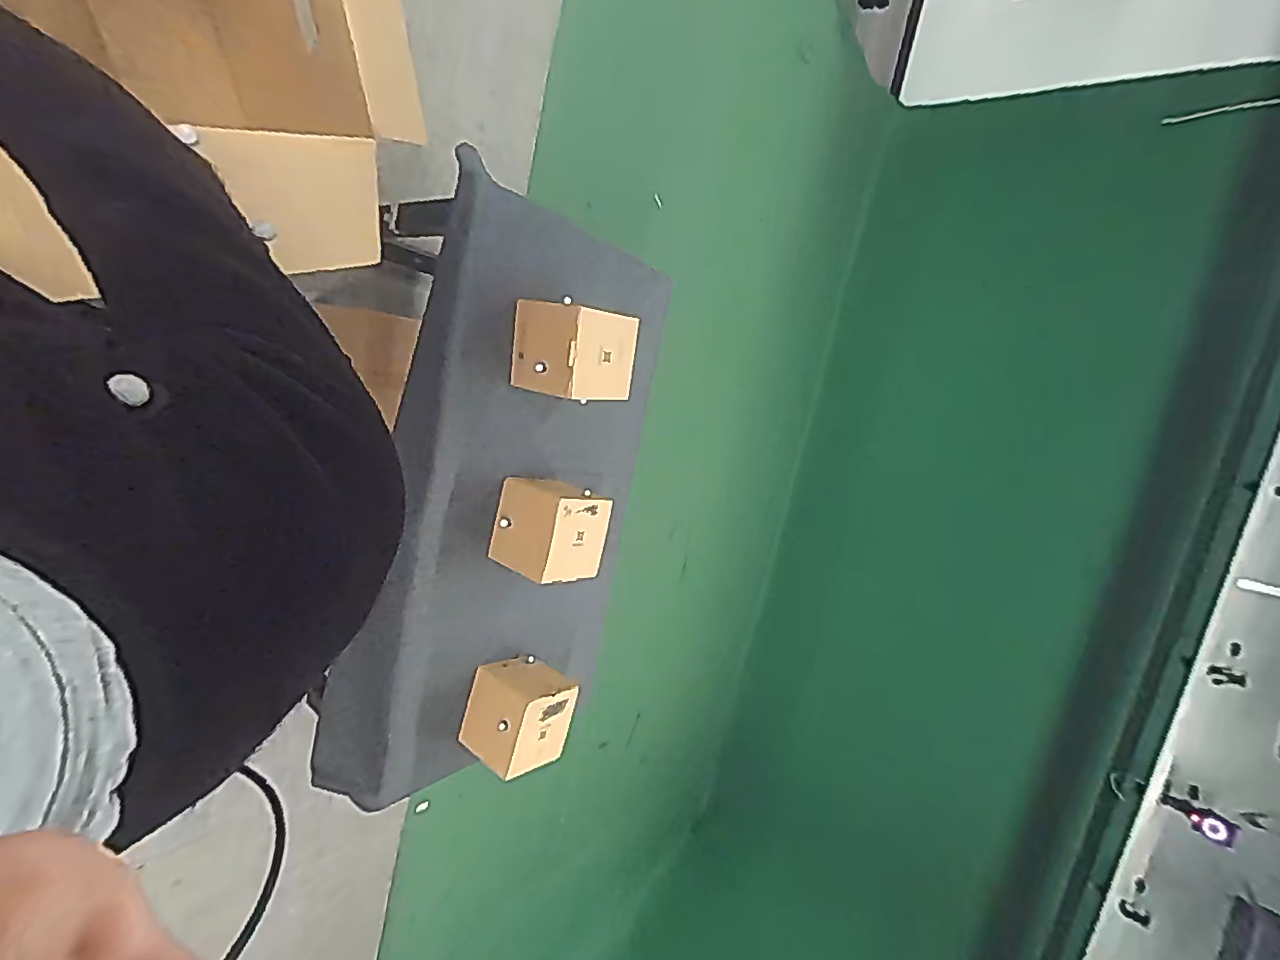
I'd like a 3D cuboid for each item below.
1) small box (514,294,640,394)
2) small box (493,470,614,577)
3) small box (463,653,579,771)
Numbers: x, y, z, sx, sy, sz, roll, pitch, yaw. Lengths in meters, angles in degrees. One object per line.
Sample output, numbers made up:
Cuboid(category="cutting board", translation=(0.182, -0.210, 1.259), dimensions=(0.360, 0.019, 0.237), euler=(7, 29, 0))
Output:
Cuboid(category="small box", translation=(-0.127, -0.267, 1.066), dimensions=(0.179, 0.176, 0.168), euler=(-13, 117, -53))
Cuboid(category="small box", translation=(-0.187, 0.089, 1.145), dimensions=(0.168, 0.176, 0.179), euler=(5, 102, -55))
Cuboid(category="small box", translation=(-0.271, 0.506, 1.217), dimensions=(0.168, 0.176, 0.179), euler=(12, 95, -55))
